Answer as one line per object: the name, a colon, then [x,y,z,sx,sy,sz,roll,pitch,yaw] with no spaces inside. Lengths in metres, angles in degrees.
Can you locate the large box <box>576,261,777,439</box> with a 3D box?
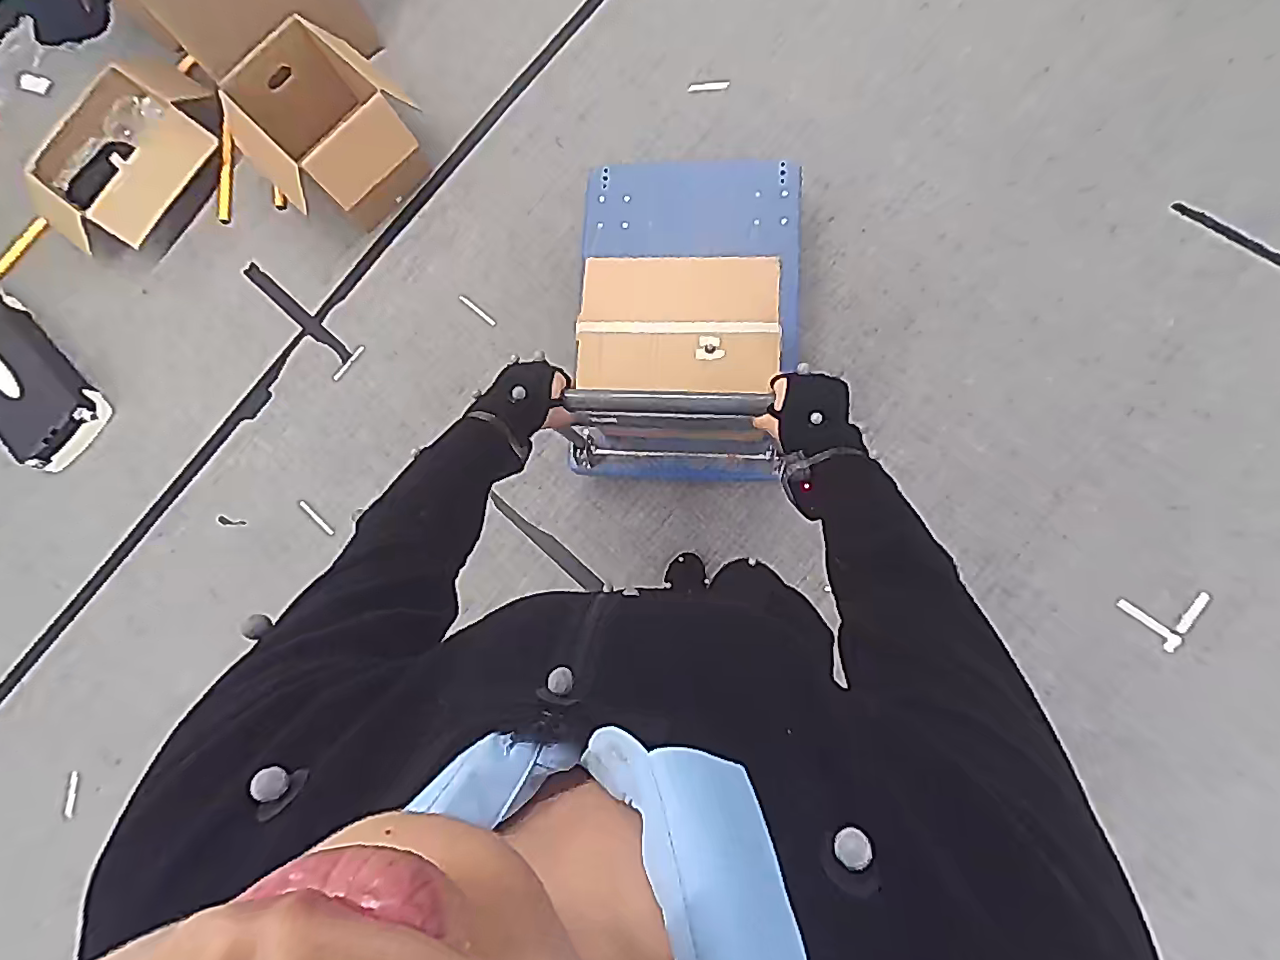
large box: [0.084,-0.278,1.241,0.408,0.320,0.320,3,82,6]
